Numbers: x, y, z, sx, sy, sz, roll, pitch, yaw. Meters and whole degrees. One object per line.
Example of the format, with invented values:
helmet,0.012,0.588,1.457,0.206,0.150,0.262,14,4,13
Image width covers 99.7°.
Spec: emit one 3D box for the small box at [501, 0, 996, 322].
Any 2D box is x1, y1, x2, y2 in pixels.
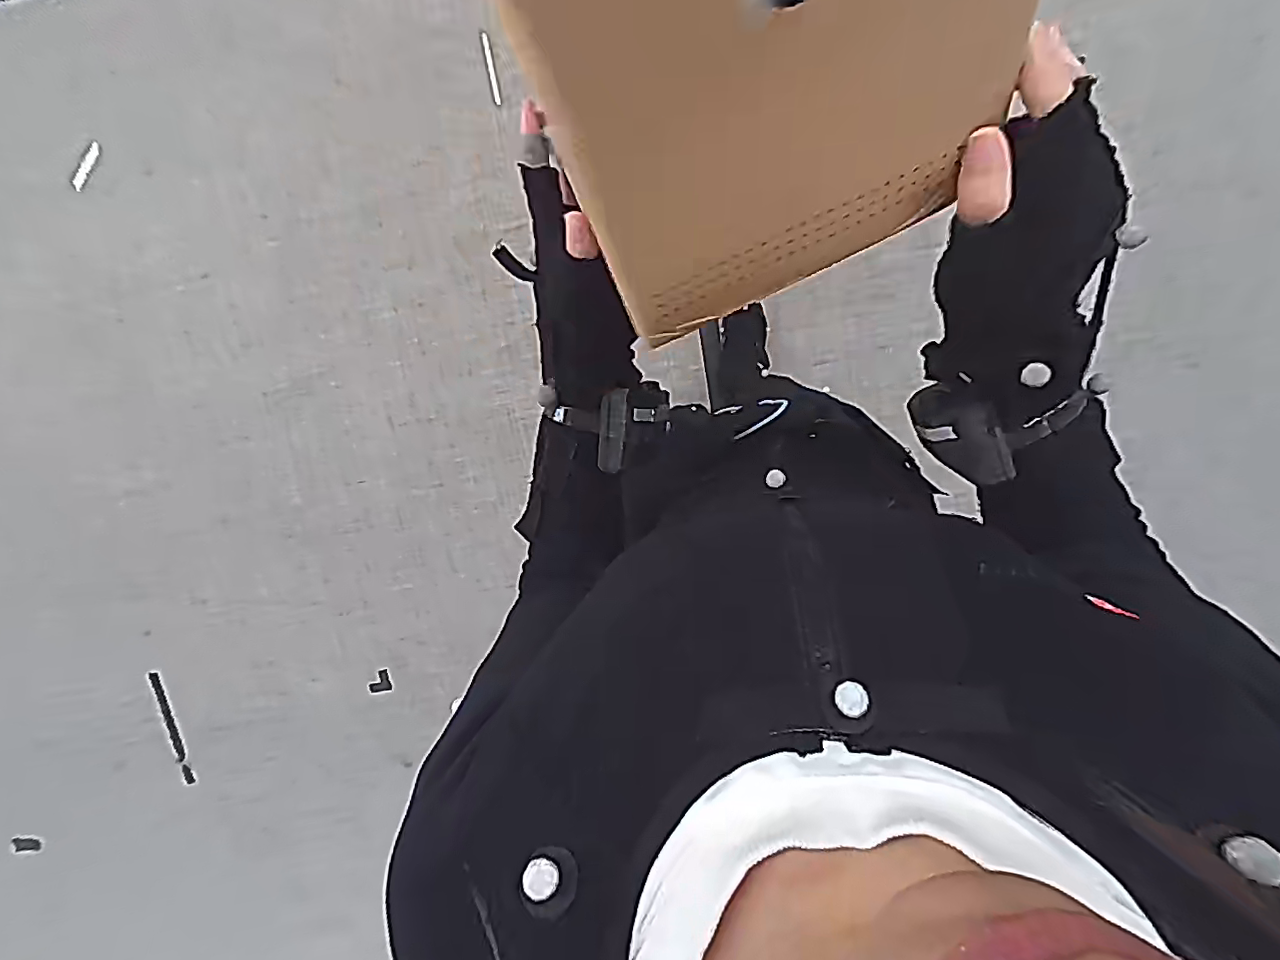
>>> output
small box,0.039,-0.208,0.251,0.179,0.176,0.168,-26,59,4
